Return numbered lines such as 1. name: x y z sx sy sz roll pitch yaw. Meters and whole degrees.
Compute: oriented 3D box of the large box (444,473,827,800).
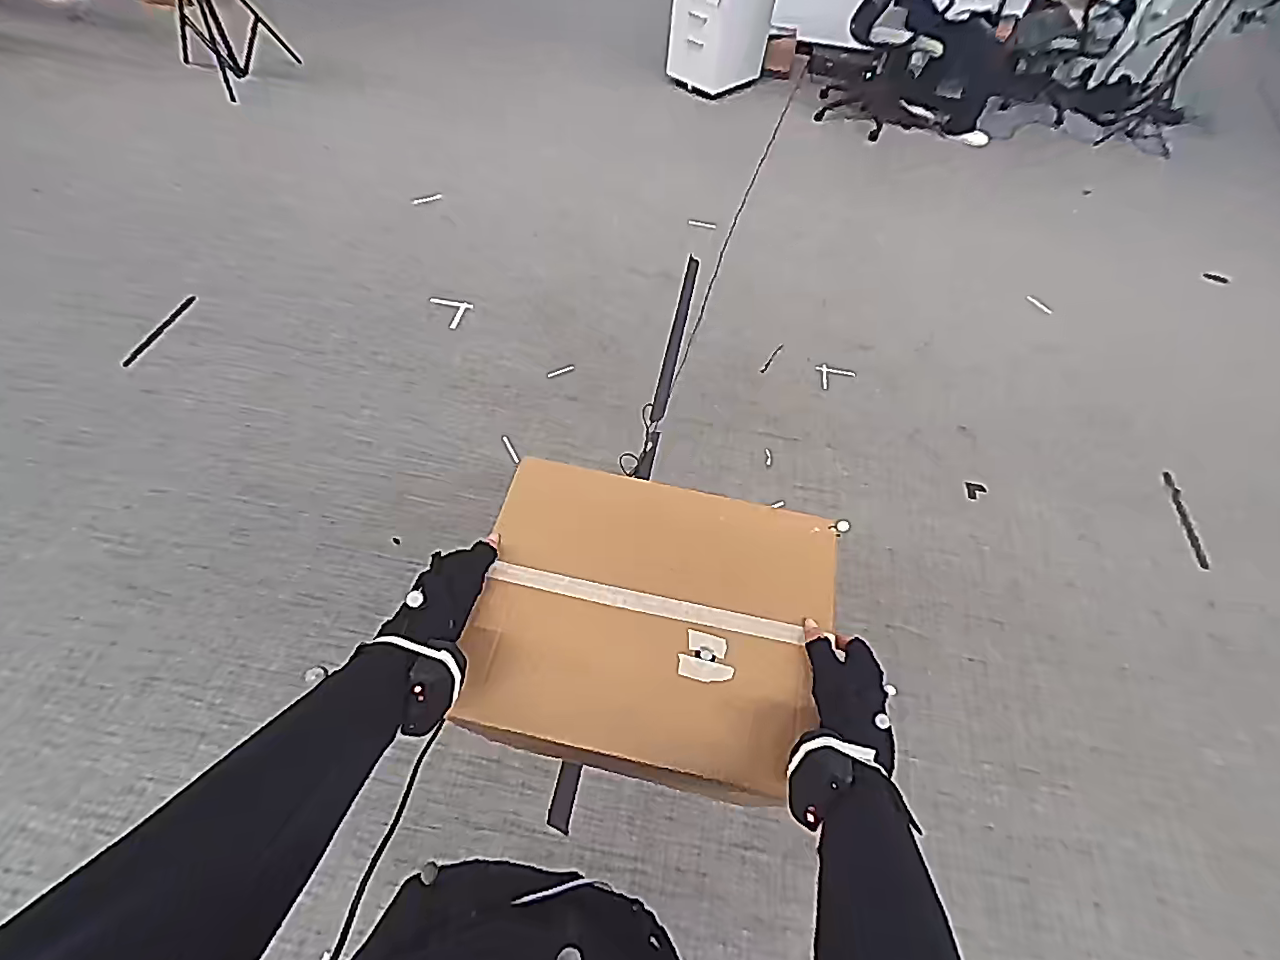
1. large box: 0.006 0.229 0.752 0.408 0.320 0.320 12 60 3
